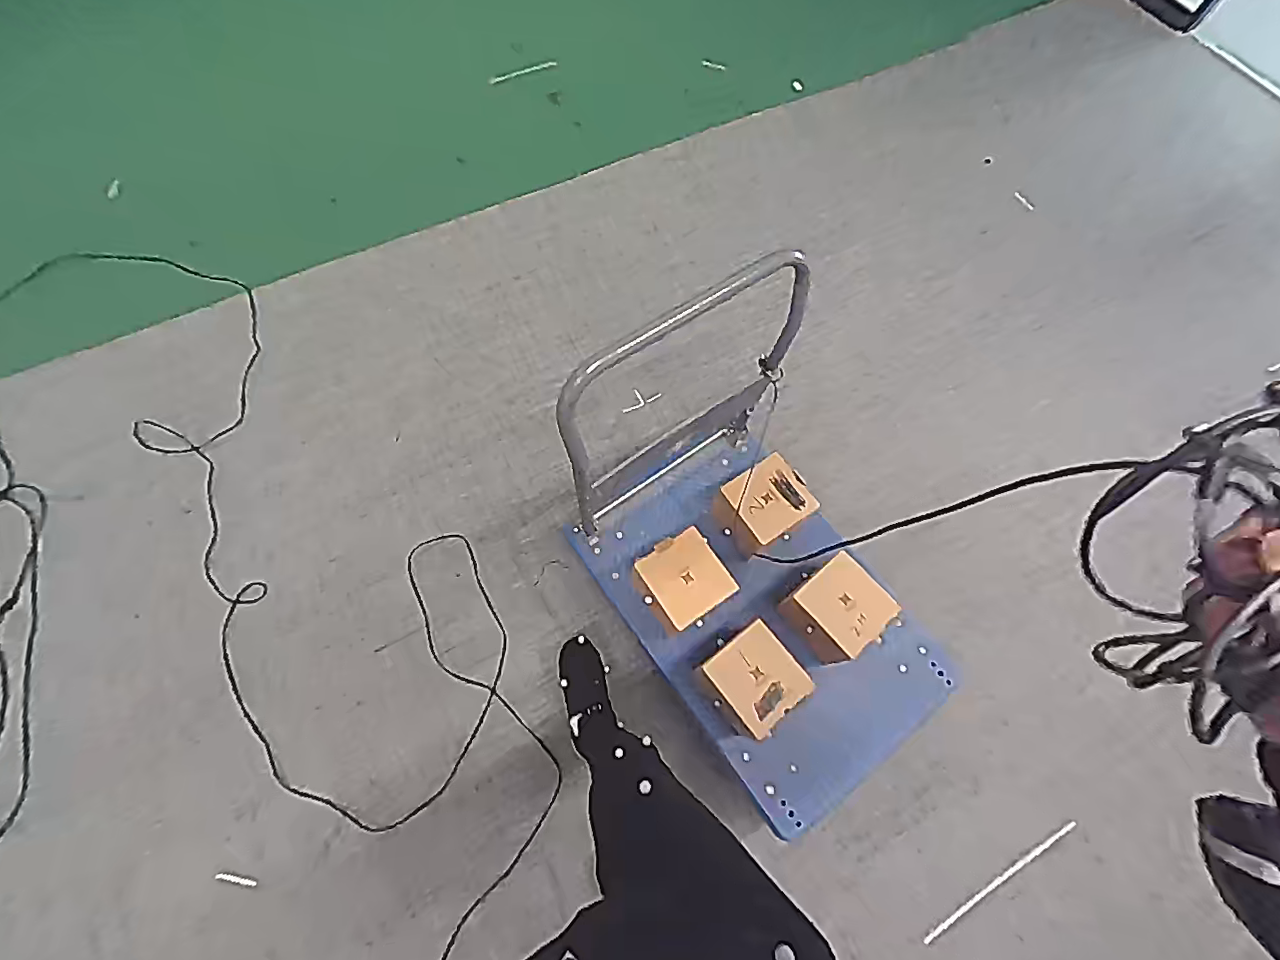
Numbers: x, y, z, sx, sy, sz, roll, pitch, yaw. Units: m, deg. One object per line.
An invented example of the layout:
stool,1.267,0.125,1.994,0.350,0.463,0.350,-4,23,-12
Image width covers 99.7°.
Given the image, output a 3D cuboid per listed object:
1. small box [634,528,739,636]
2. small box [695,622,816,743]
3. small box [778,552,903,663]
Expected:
small box,0.099,0.242,1.243,0.168,0.176,0.179,-31,72,-14
small box,0.239,0.434,1.167,0.168,0.176,0.179,-35,72,-15
small box,0.444,0.297,1.230,0.168,0.176,0.179,-37,74,-15
